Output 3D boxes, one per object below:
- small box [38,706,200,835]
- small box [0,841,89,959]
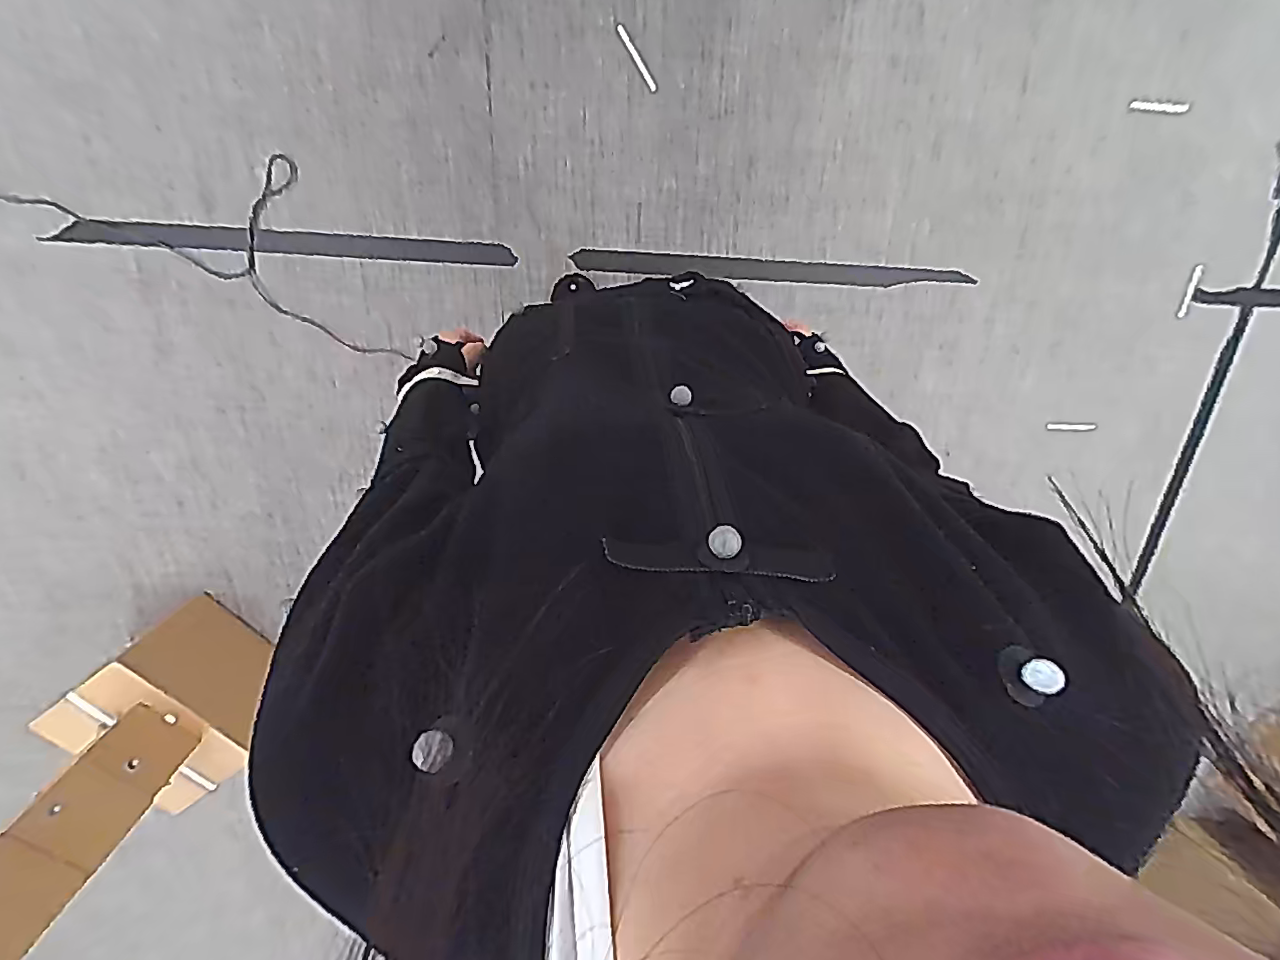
[{"bbox_3d":[-1.197,0.669,1.261,0.168,0.176,0.179,-38,108,8],"label":"small box"},{"bbox_3d":[-1.165,0.781,0.953,0.168,0.176,0.179,-37,109,9],"label":"small box"}]
